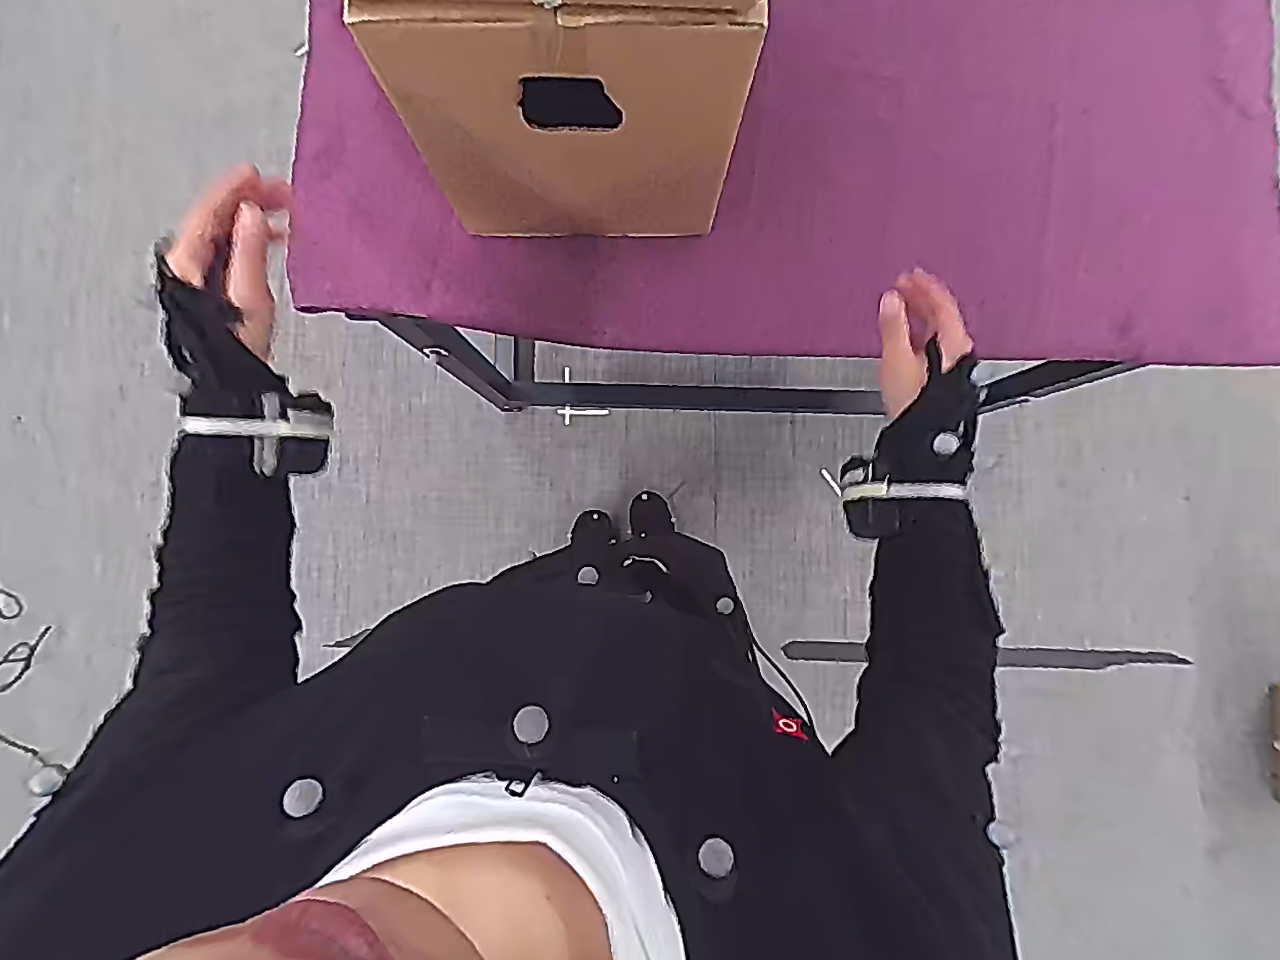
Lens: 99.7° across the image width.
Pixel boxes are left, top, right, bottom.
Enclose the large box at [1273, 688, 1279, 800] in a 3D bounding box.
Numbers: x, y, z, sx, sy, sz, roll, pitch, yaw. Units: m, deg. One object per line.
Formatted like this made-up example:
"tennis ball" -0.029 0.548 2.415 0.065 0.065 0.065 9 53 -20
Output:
"large box" 1.818 0.670 1.226 0.408 0.320 0.320 0 87 1
